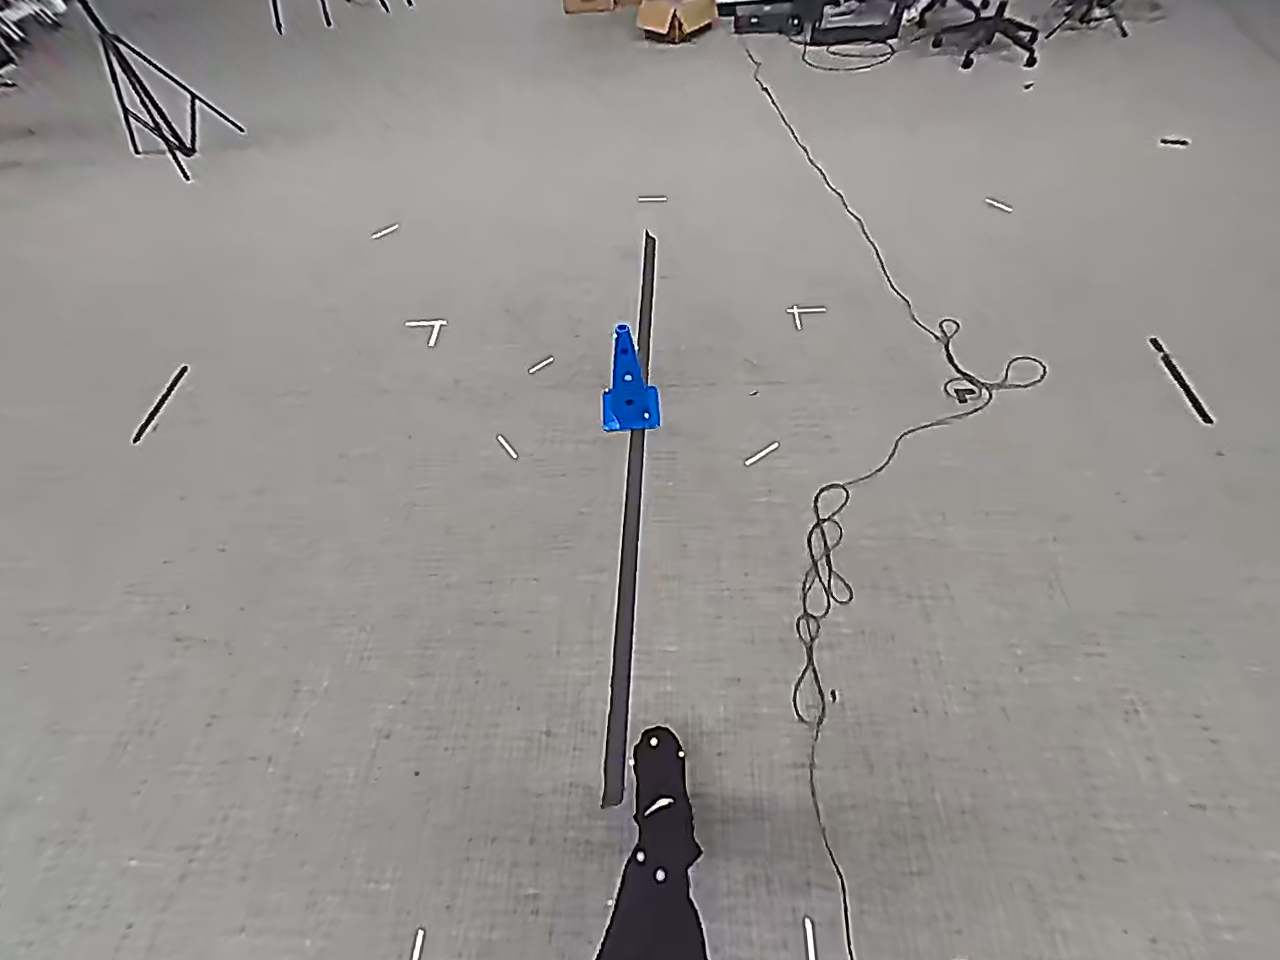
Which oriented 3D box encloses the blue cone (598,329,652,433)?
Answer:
[{"bbox_3d":[-0.065,-0.339,1.782,0.192,0.380,0.193,-3,54,3],"label":"blue cone"}]
